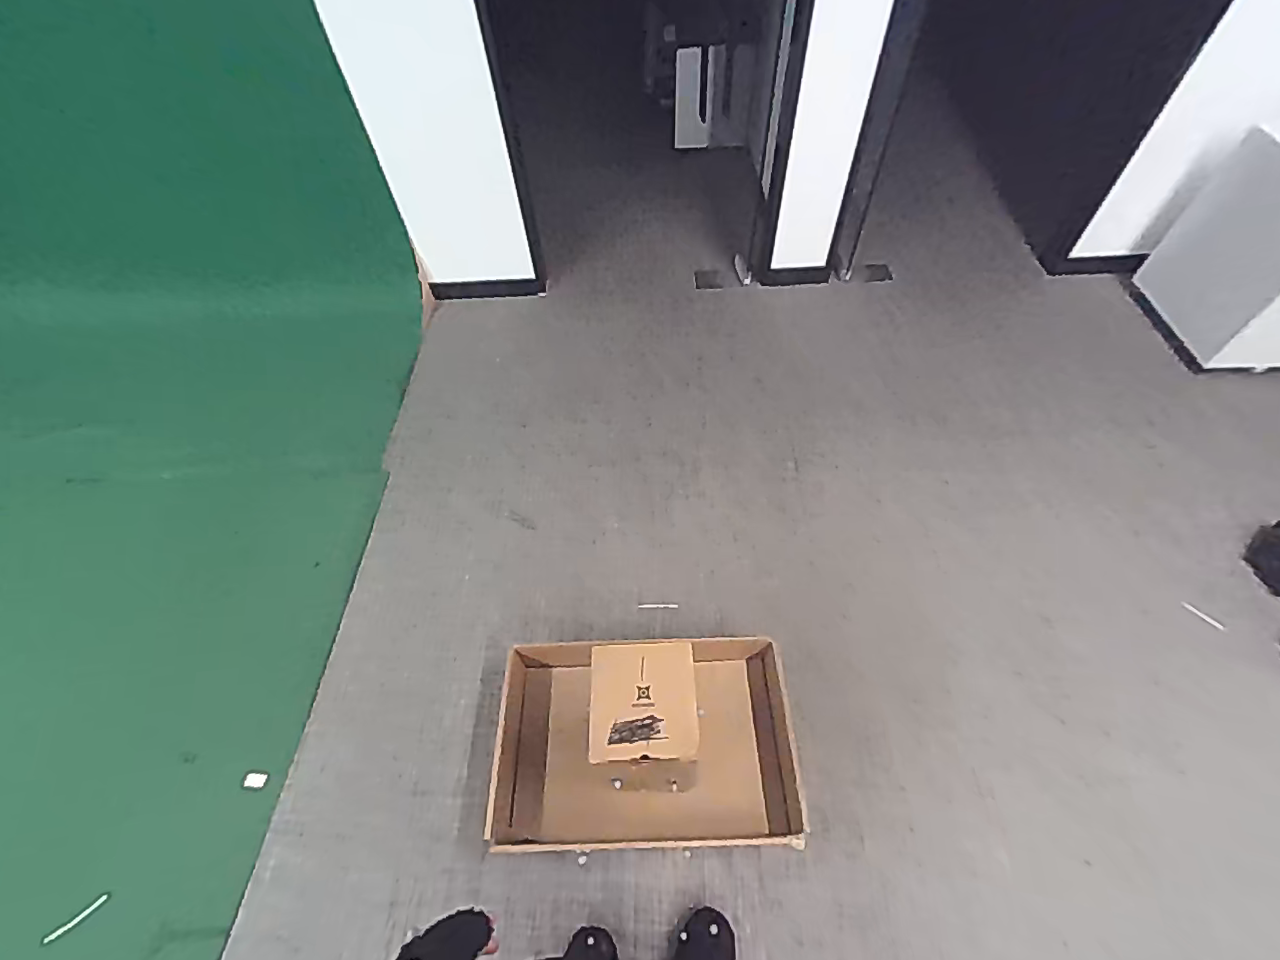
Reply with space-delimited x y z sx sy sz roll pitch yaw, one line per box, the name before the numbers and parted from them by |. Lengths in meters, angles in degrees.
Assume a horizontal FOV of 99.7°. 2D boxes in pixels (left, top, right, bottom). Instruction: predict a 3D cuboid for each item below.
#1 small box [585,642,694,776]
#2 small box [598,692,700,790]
small box | 0.003 0.388 0.904 0.168 0.176 0.179 -2 52 1
small box | 0.012 0.477 1.022 0.179 0.176 0.168 -5 53 -1
